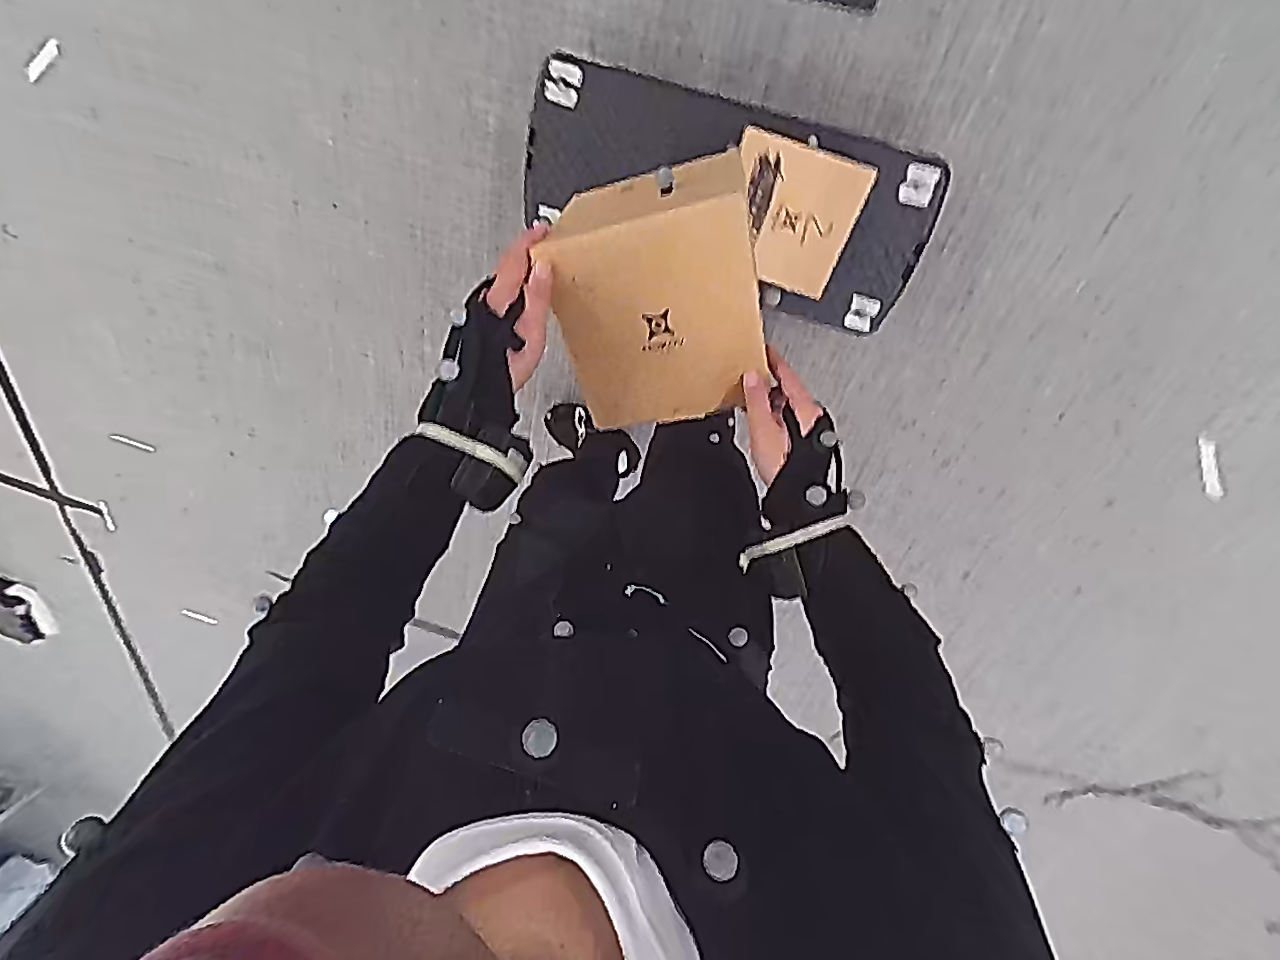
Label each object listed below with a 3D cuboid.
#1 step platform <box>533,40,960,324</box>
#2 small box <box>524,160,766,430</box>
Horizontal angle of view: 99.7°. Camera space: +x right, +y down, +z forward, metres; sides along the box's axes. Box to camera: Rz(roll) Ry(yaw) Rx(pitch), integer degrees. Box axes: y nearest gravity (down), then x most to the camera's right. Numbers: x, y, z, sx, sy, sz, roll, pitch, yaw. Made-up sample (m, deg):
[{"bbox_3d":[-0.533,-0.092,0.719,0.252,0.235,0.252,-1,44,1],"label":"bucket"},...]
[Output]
[{"bbox_3d":[0.160,-0.505,0.941,0.684,0.204,0.286,18,122,3],"label":"step platform"},{"bbox_3d":[0.017,-0.175,0.501,0.168,0.176,0.179,-9,129,15],"label":"small box"}]
